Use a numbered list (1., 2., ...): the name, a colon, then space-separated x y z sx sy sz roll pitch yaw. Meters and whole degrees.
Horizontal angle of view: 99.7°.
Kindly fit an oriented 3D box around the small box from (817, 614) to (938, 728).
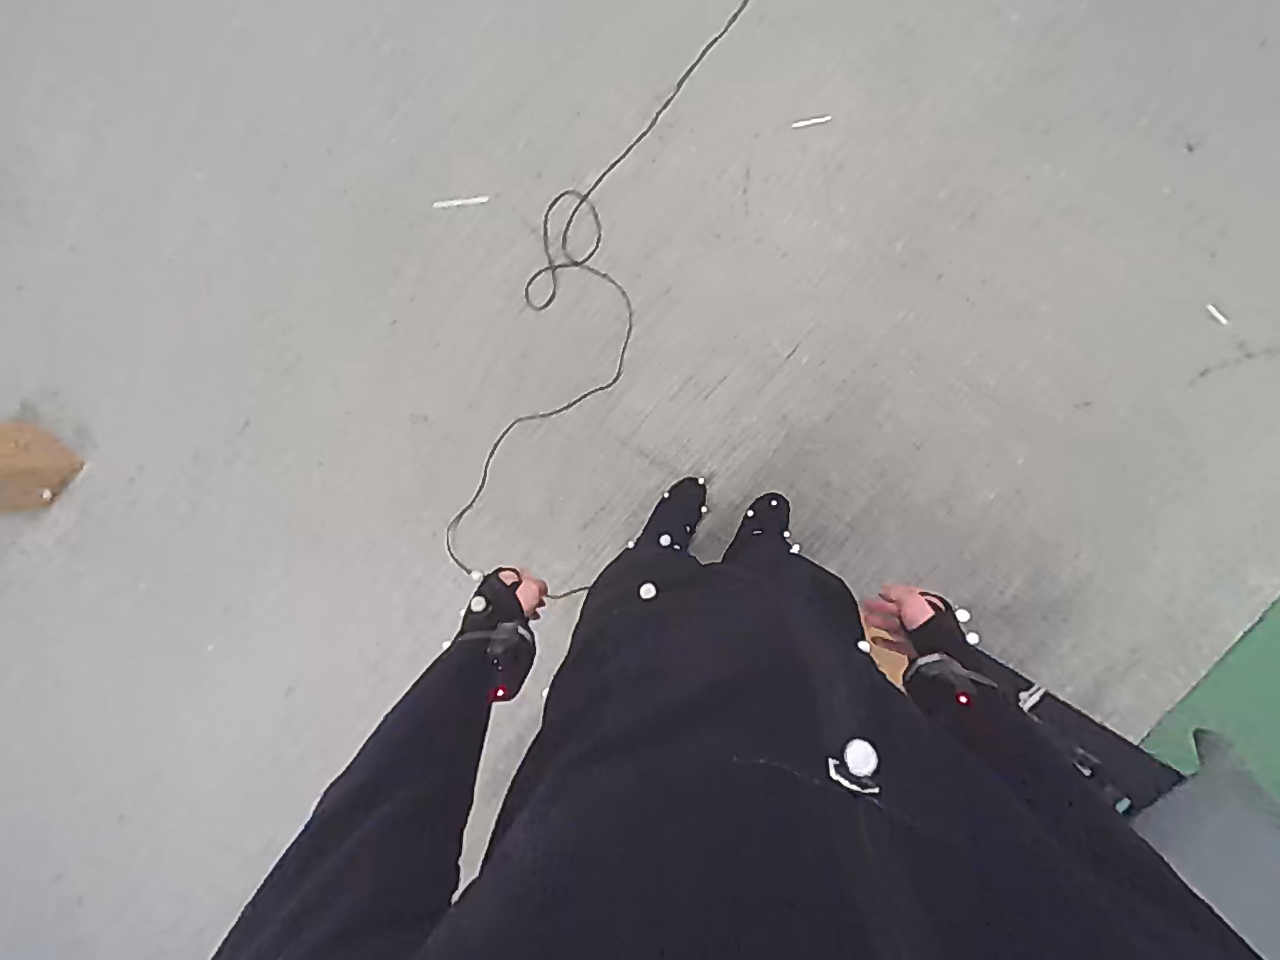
1. small box: 0.560 0.445 1.302 0.179 0.176 0.168 44 93 -1
